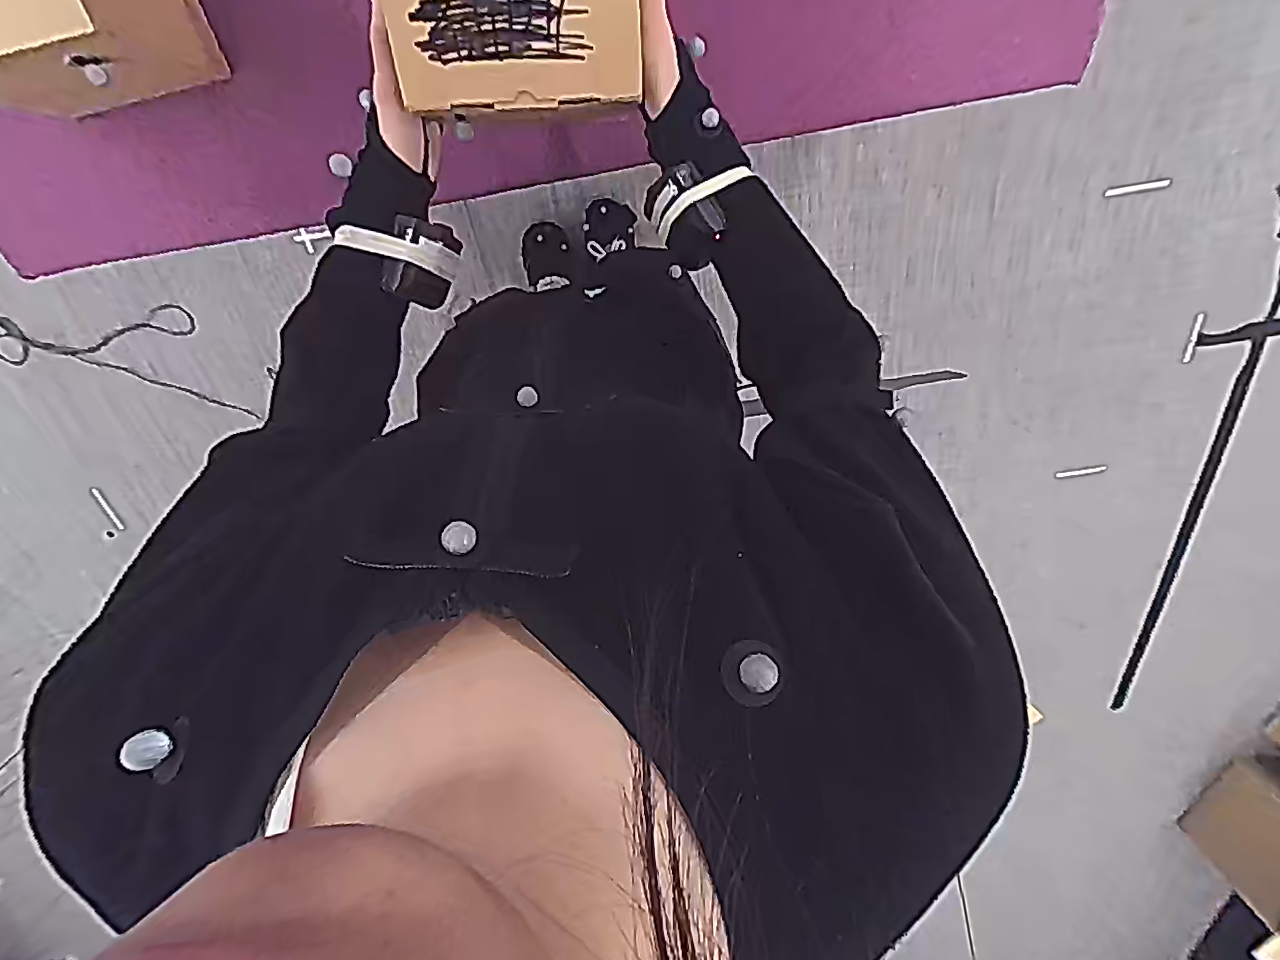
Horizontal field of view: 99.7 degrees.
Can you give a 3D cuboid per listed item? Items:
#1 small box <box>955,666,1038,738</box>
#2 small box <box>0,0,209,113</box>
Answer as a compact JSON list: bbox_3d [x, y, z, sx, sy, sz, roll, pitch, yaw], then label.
[{"bbox_3d":[1.358,0.843,2.072,0.179,0.176,0.168,38,111,-22],"label":"small box"},{"bbox_3d":[-0.503,-0.419,0.435,0.179,0.176,0.168,-12,117,3],"label":"small box"}]
